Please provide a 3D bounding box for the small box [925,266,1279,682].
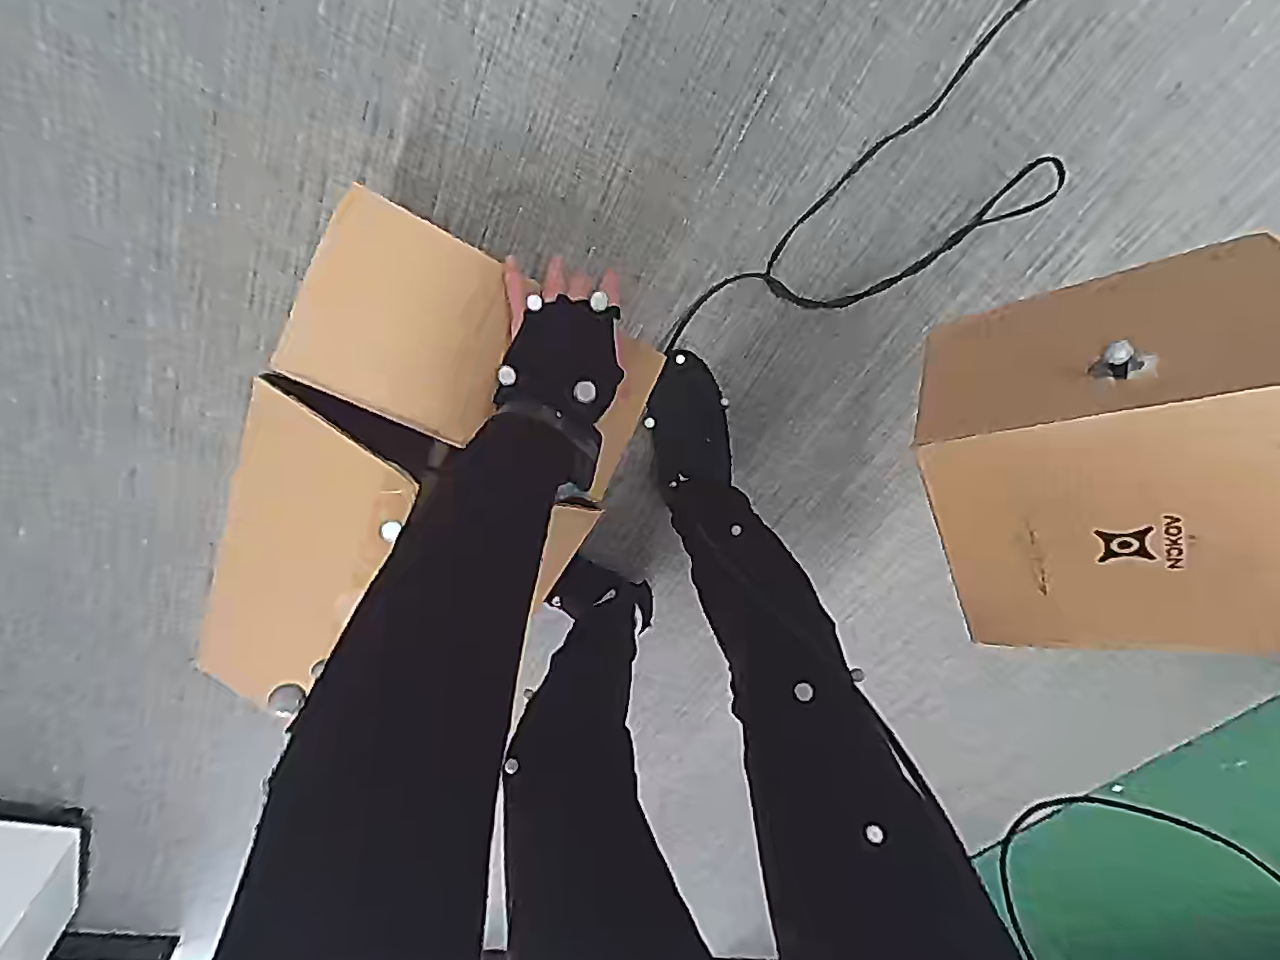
[{"bbox_3d":[0.283,-0.005,0.326,0.179,0.176,0.168,-8,120,35],"label":"small box"}]
